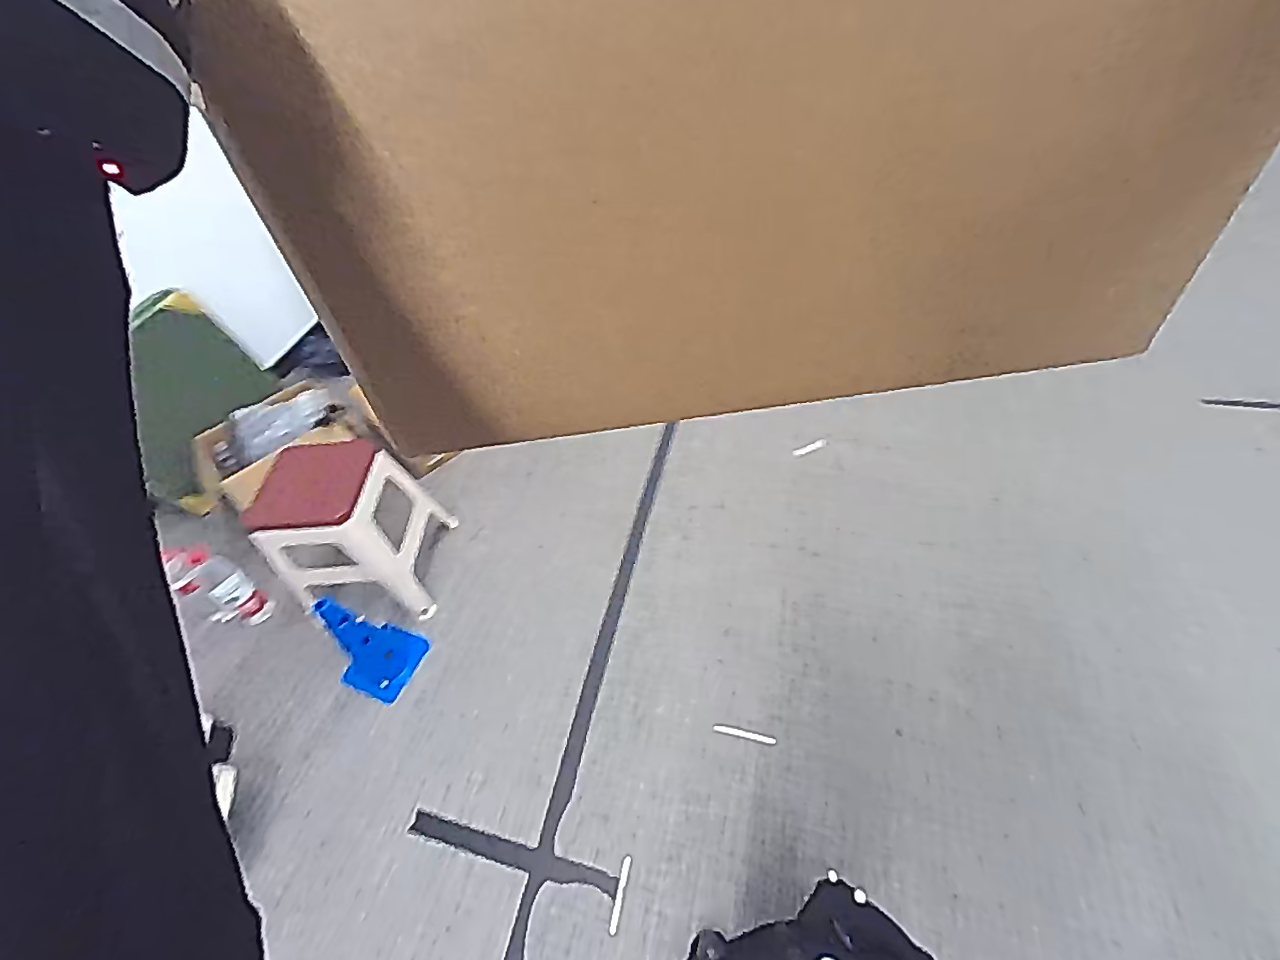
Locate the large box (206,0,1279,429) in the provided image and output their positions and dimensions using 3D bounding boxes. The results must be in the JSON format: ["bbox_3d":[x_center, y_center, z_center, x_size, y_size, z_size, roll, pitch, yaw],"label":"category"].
[{"bbox_3d":[0.046,-0.258,0.295,0.408,0.320,0.320,-7,45,0],"label":"large box"}]
